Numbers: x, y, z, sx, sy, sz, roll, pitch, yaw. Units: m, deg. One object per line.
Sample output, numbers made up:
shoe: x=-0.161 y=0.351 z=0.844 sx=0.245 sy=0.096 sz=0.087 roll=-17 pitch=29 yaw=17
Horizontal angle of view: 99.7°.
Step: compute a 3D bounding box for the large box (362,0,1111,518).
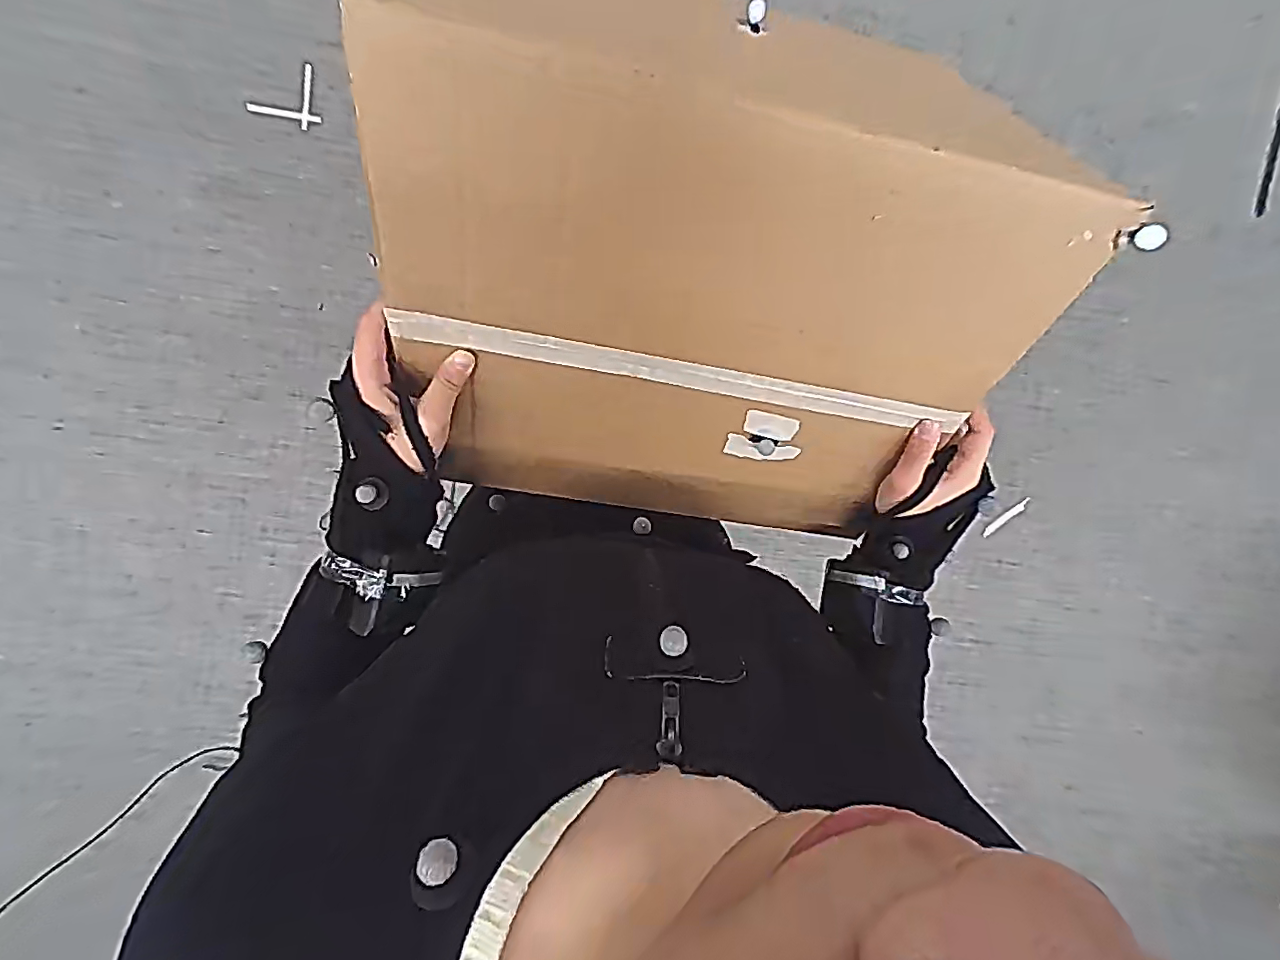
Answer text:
large box: x=0.037 y=-0.196 z=0.478 sx=0.408 sy=0.320 sz=0.320 roll=7 pitch=140 yaw=-9
